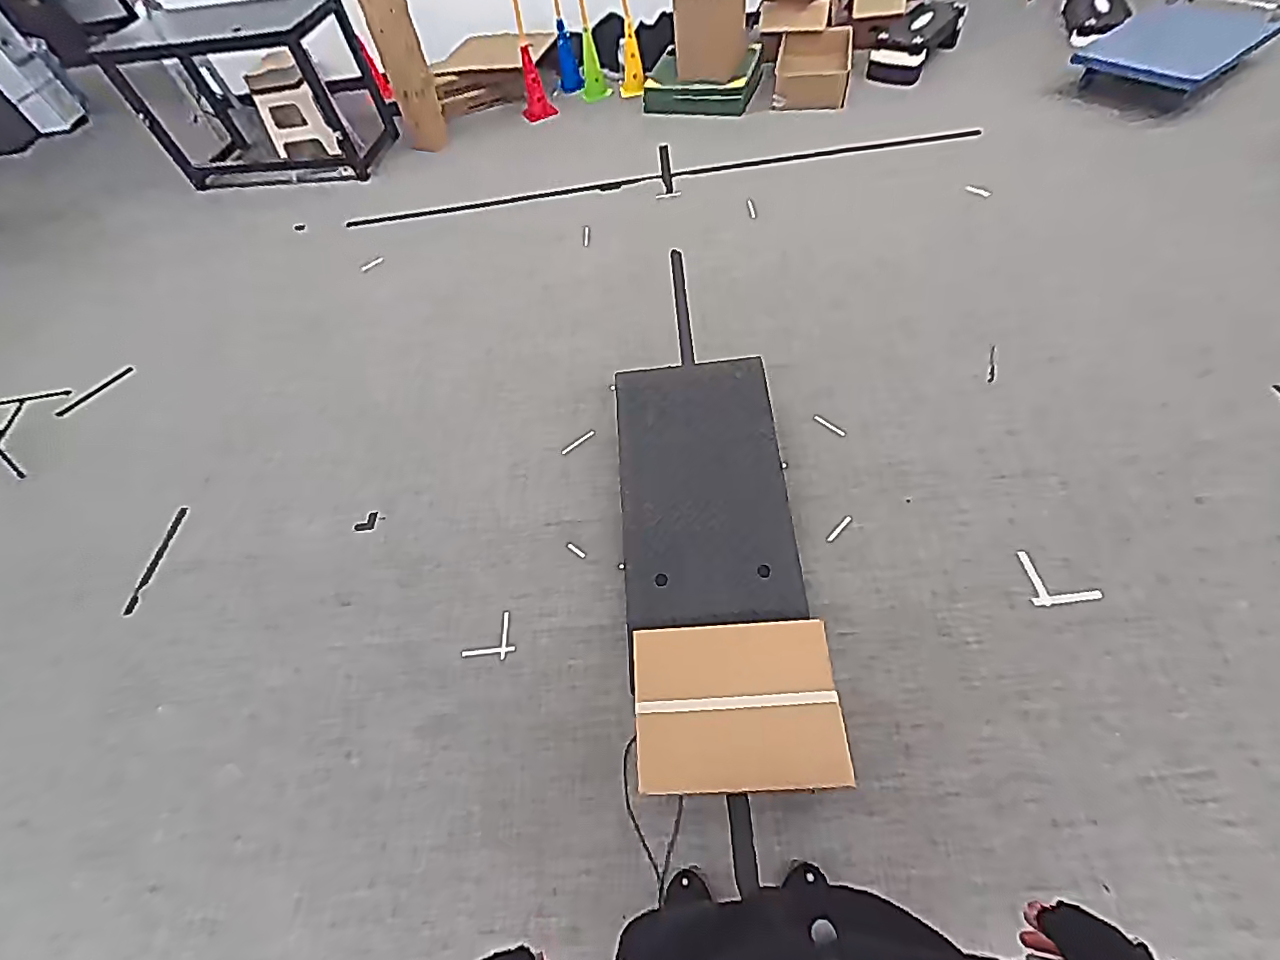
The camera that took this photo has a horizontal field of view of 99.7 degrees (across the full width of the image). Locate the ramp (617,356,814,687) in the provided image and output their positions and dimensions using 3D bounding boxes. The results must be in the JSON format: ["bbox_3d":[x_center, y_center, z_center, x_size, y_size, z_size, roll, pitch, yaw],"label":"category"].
[{"bbox_3d":[0.200,0.070,1.606,0.509,0.206,0.991,-7,56,2],"label":"ramp"}]

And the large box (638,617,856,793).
[{"bbox_3d":[0.218,0.518,1.222,0.408,0.320,0.320,-5,59,5],"label":"large box"}]
